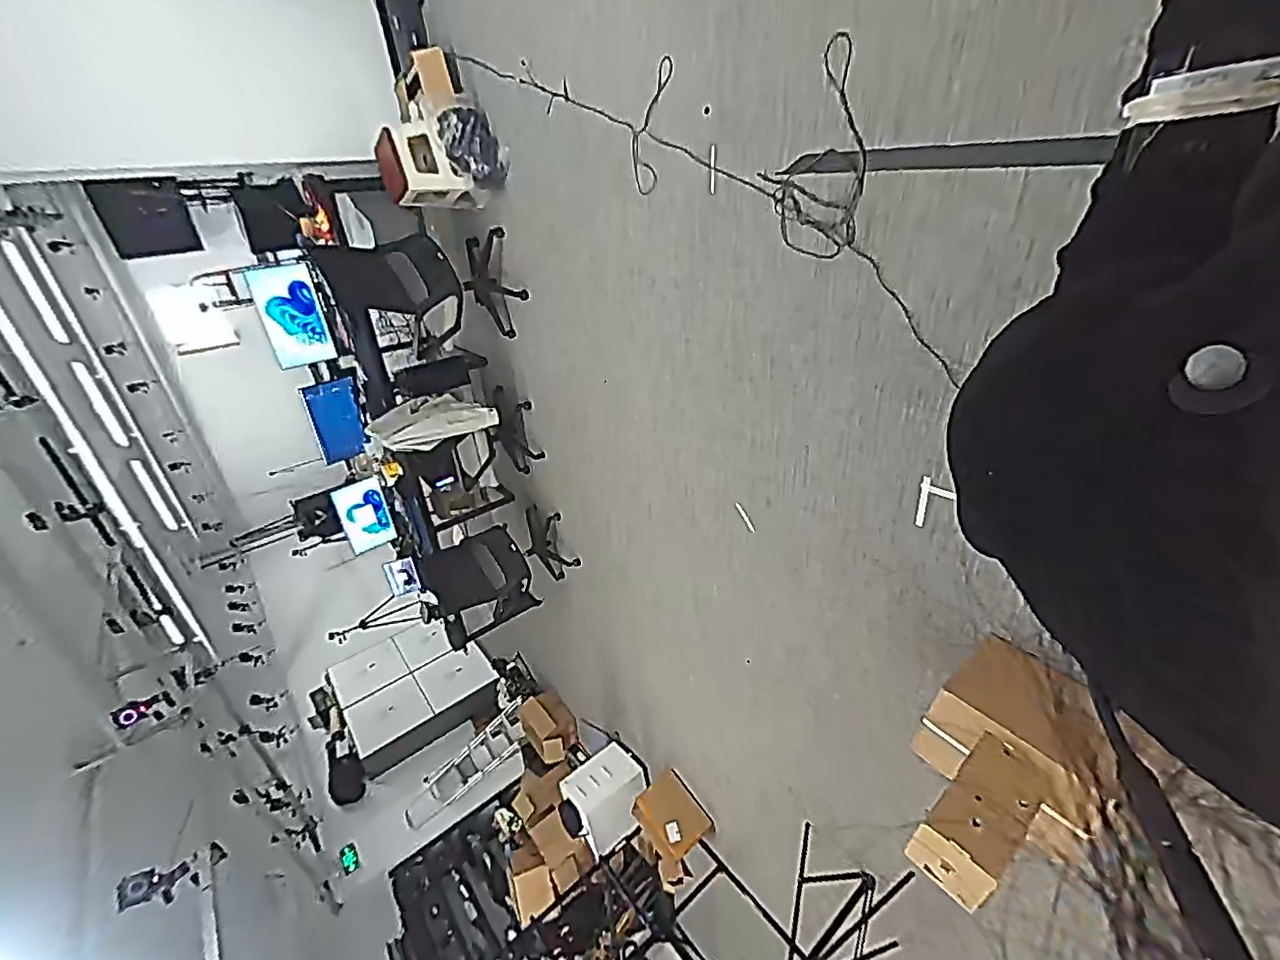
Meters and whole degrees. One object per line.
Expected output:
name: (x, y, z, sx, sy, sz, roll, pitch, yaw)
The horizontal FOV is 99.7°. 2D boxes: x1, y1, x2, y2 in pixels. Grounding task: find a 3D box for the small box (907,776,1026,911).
small box: (0.772, 0.847, 1.276, 0.168, 0.176, 0.179, 34, 136, 40)
